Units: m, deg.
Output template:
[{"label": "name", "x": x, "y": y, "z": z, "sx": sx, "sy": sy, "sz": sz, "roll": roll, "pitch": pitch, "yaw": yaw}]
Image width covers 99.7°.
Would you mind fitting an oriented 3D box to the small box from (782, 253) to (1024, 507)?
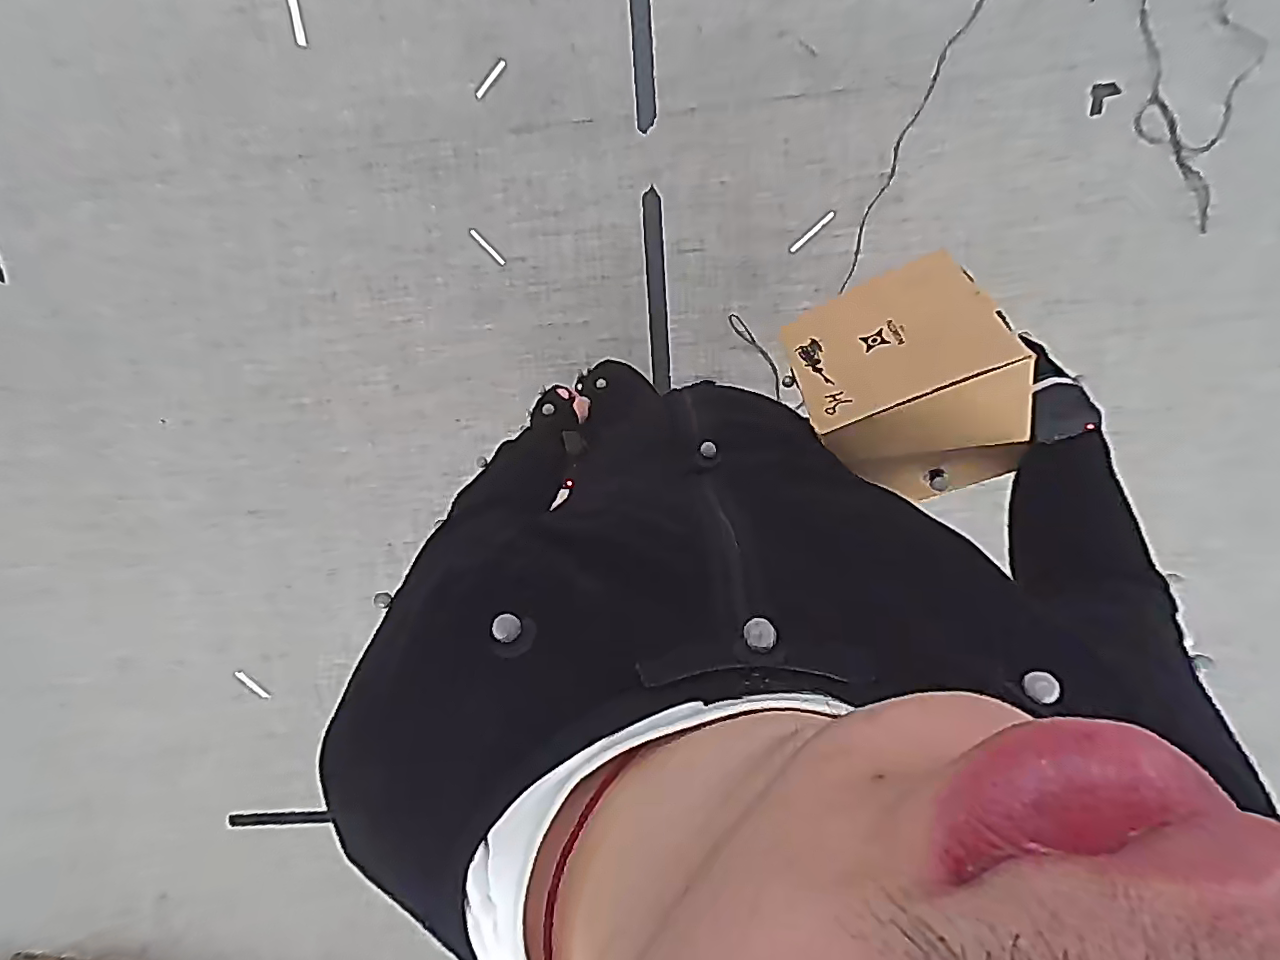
[{"label": "small box", "x": 0.274, "y": -0.097, "z": 0.581, "sx": 0.179, "sy": 0.168, "sz": 0.176, "roll": -21, "pitch": 138, "yaw": 20}]
